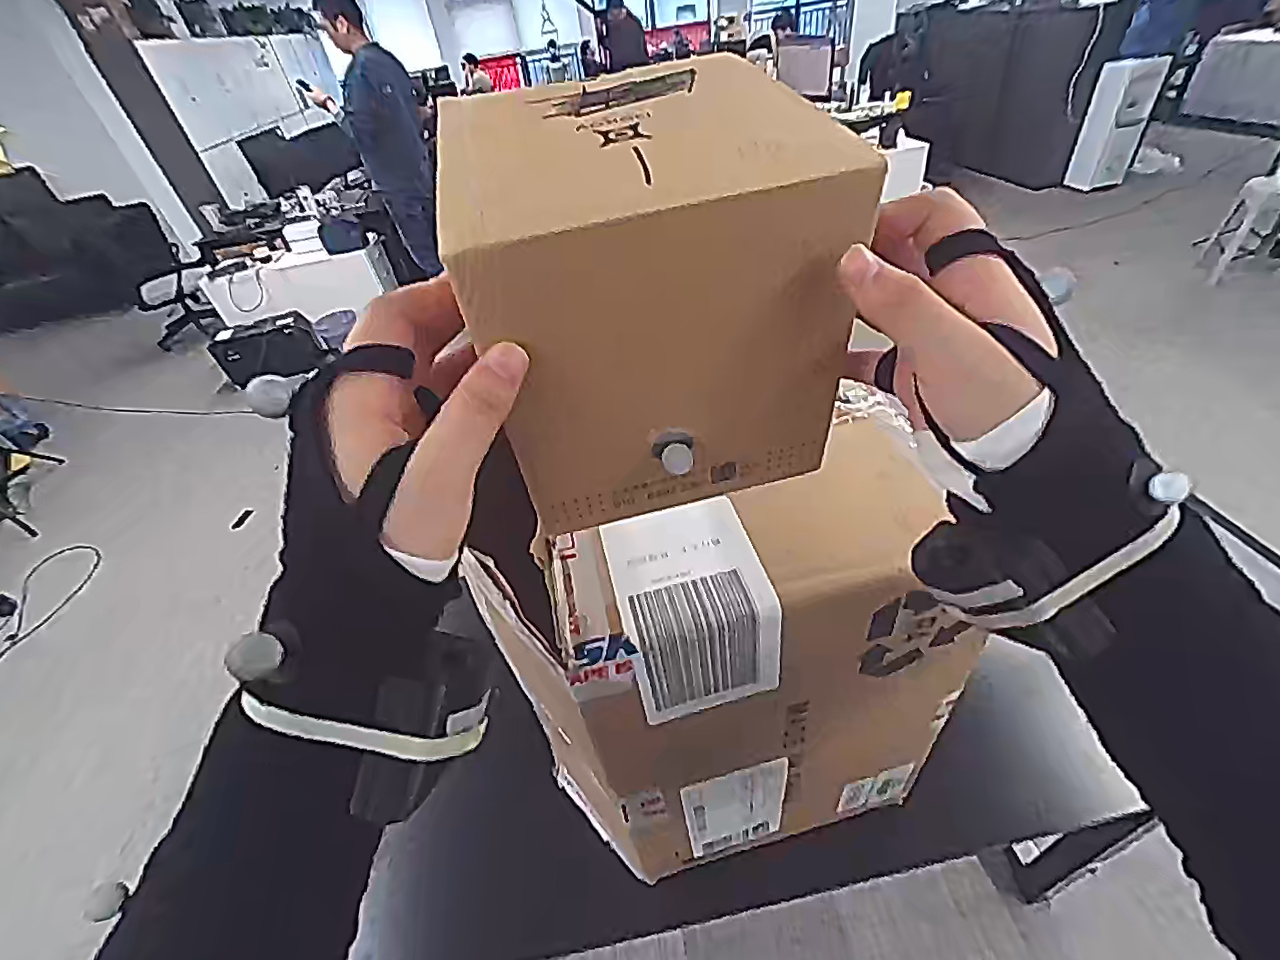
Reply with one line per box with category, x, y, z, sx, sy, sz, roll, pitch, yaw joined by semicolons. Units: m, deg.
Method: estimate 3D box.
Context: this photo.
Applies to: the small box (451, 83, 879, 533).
small box;0.001;-0.098;0.313;0.168;0.176;0.179;-14;49;-5
